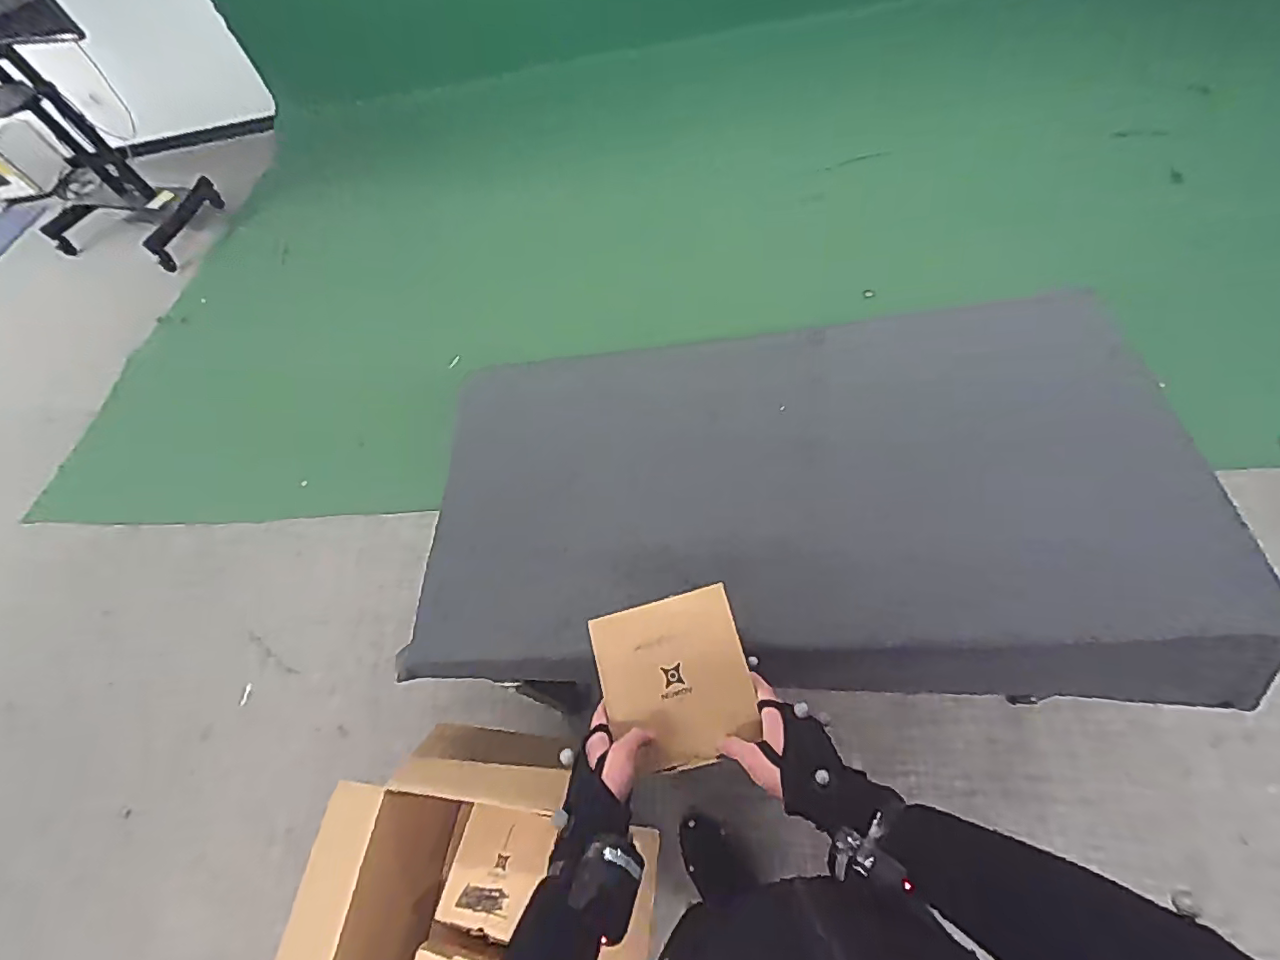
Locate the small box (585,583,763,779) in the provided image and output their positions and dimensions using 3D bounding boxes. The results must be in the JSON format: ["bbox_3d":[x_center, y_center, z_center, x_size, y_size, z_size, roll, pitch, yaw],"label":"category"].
[{"bbox_3d":[0.046,0.242,0.674,0.168,0.176,0.179,-17,70,3],"label":"small box"}]
